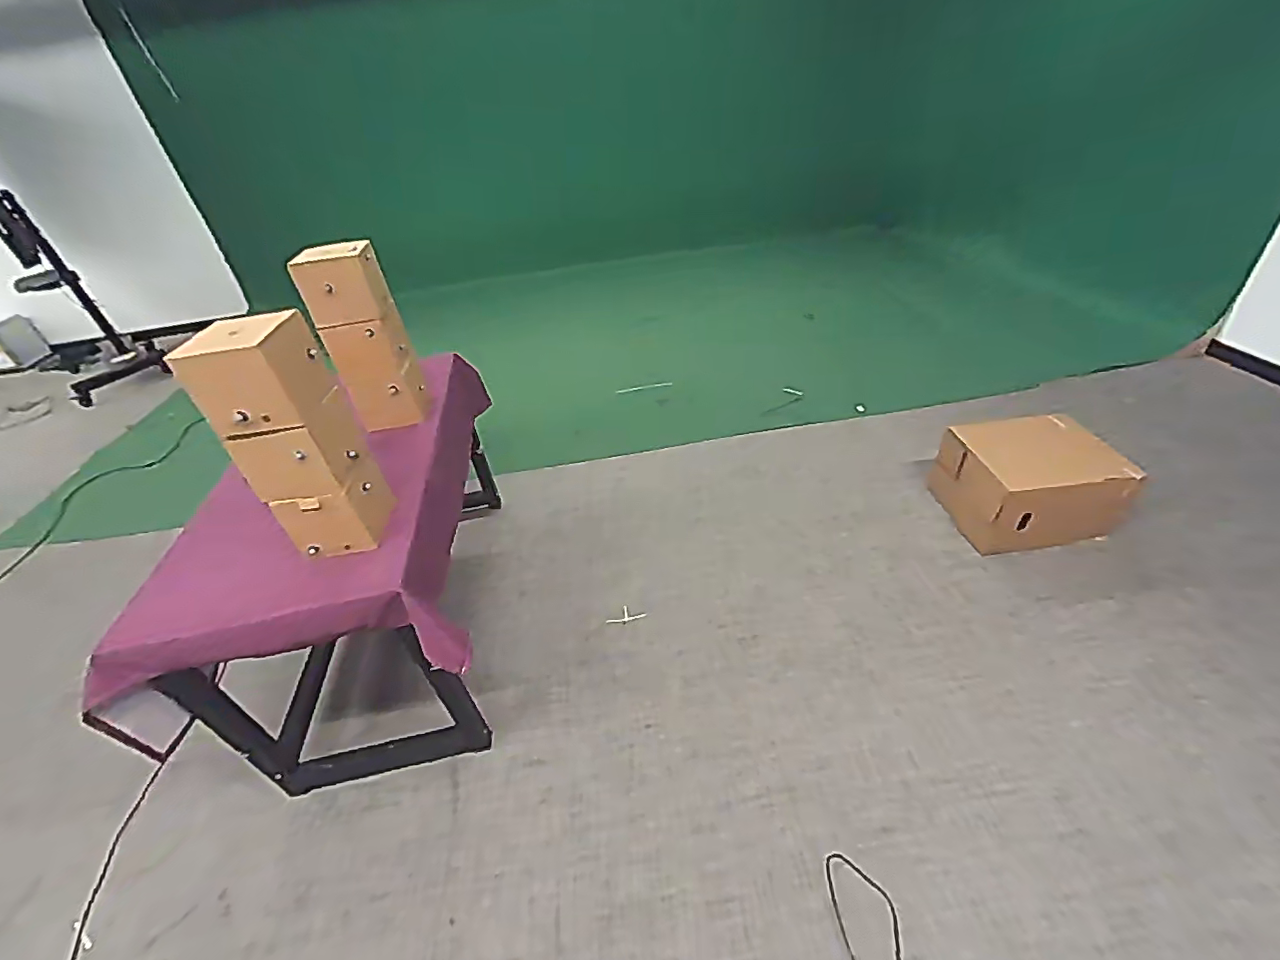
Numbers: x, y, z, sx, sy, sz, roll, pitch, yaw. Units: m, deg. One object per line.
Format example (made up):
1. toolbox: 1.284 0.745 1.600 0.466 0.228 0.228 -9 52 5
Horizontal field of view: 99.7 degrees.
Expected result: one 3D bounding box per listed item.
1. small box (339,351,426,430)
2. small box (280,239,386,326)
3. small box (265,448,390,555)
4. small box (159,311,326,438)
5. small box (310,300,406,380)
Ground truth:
1. small box: -0.778 -0.274 1.659 0.179 0.176 0.168 -11 38 -3
2. small box: -0.819 -0.532 1.461 0.179 0.176 0.168 -13 39 -6
3. small box: -0.694 0.054 1.229 0.168 0.176 0.179 -9 37 -1
4. small box: -0.735 -0.202 1.028 0.168 0.176 0.179 -9 38 0
5. small box: -0.805 -0.403 1.562 0.179 0.176 0.168 -10 38 -4
